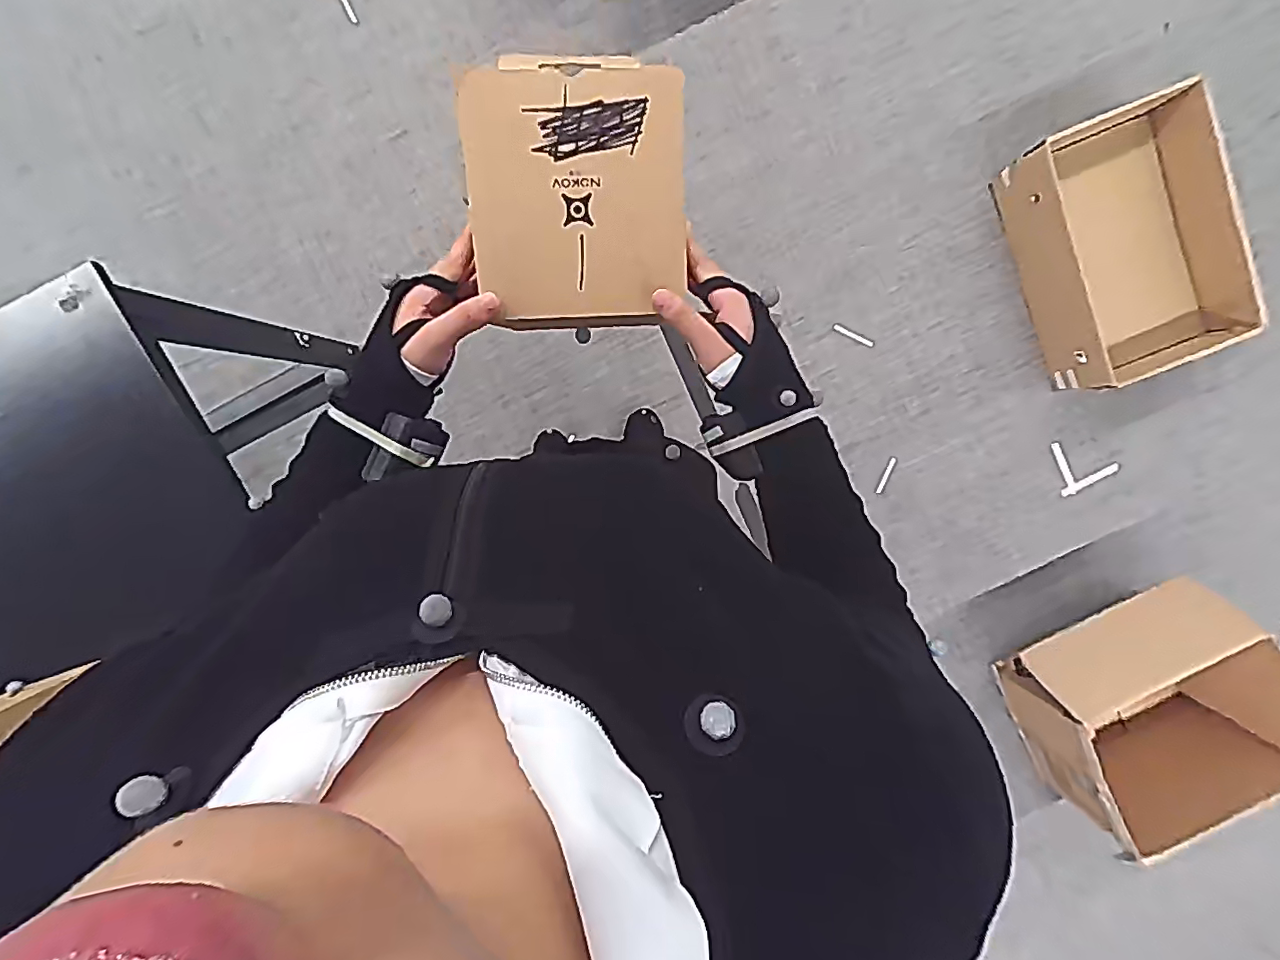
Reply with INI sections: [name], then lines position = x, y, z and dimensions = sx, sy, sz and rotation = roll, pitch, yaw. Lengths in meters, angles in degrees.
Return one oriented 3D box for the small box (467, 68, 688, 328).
[small box]
position = -0.051, -0.236, 0.494
dimensions = 0.168, 0.176, 0.179
rotation = -3, 104, -4
